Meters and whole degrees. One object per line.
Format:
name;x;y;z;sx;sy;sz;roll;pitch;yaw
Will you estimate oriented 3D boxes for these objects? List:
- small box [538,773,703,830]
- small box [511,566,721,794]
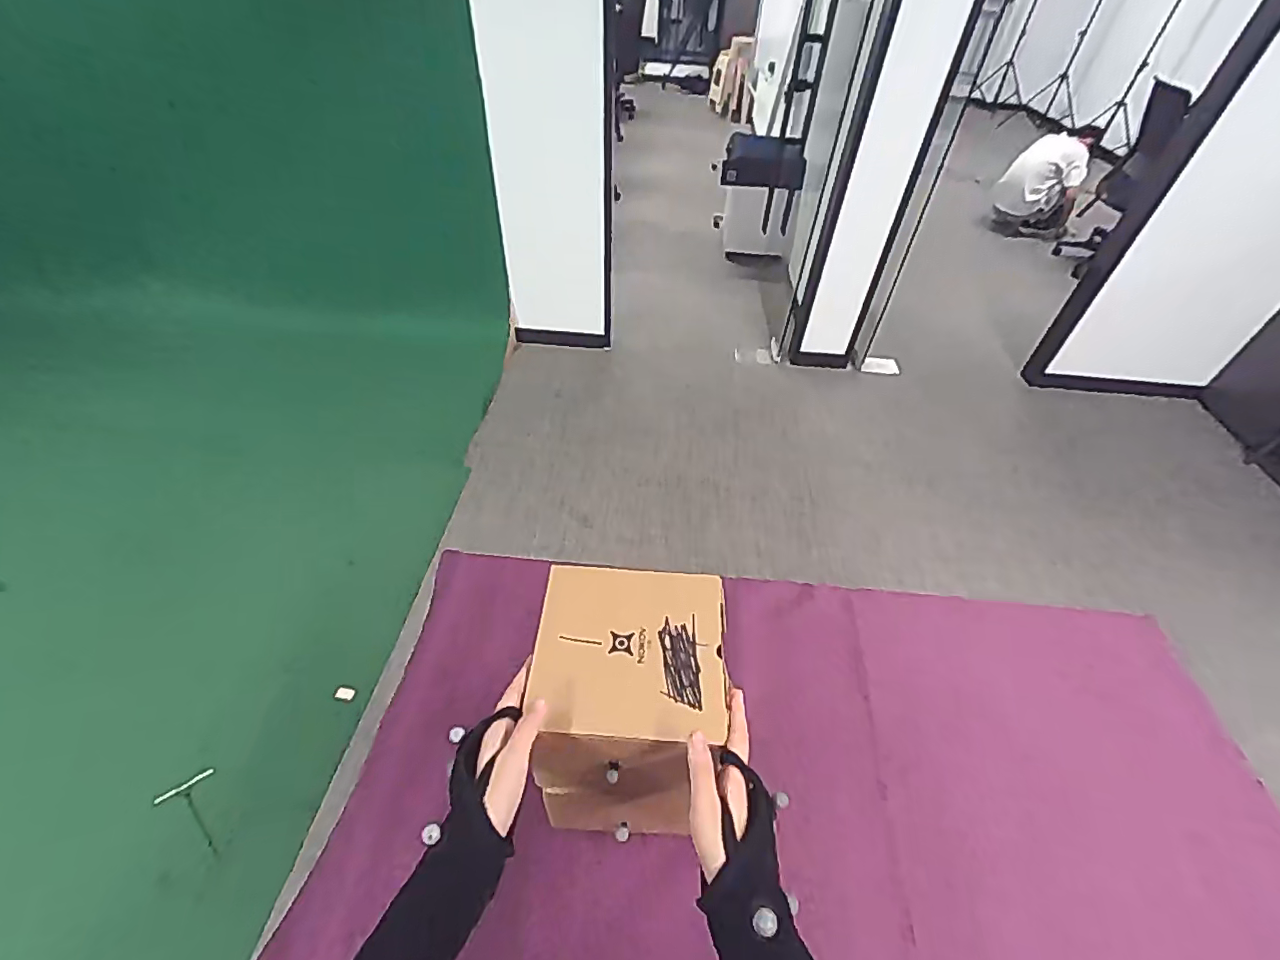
small box;-0.021;0.323;0.676;0.179;0.176;0.168;4;46;0
small box;-0.017;0.209;0.557;0.179;0.176;0.168;4;47;2
